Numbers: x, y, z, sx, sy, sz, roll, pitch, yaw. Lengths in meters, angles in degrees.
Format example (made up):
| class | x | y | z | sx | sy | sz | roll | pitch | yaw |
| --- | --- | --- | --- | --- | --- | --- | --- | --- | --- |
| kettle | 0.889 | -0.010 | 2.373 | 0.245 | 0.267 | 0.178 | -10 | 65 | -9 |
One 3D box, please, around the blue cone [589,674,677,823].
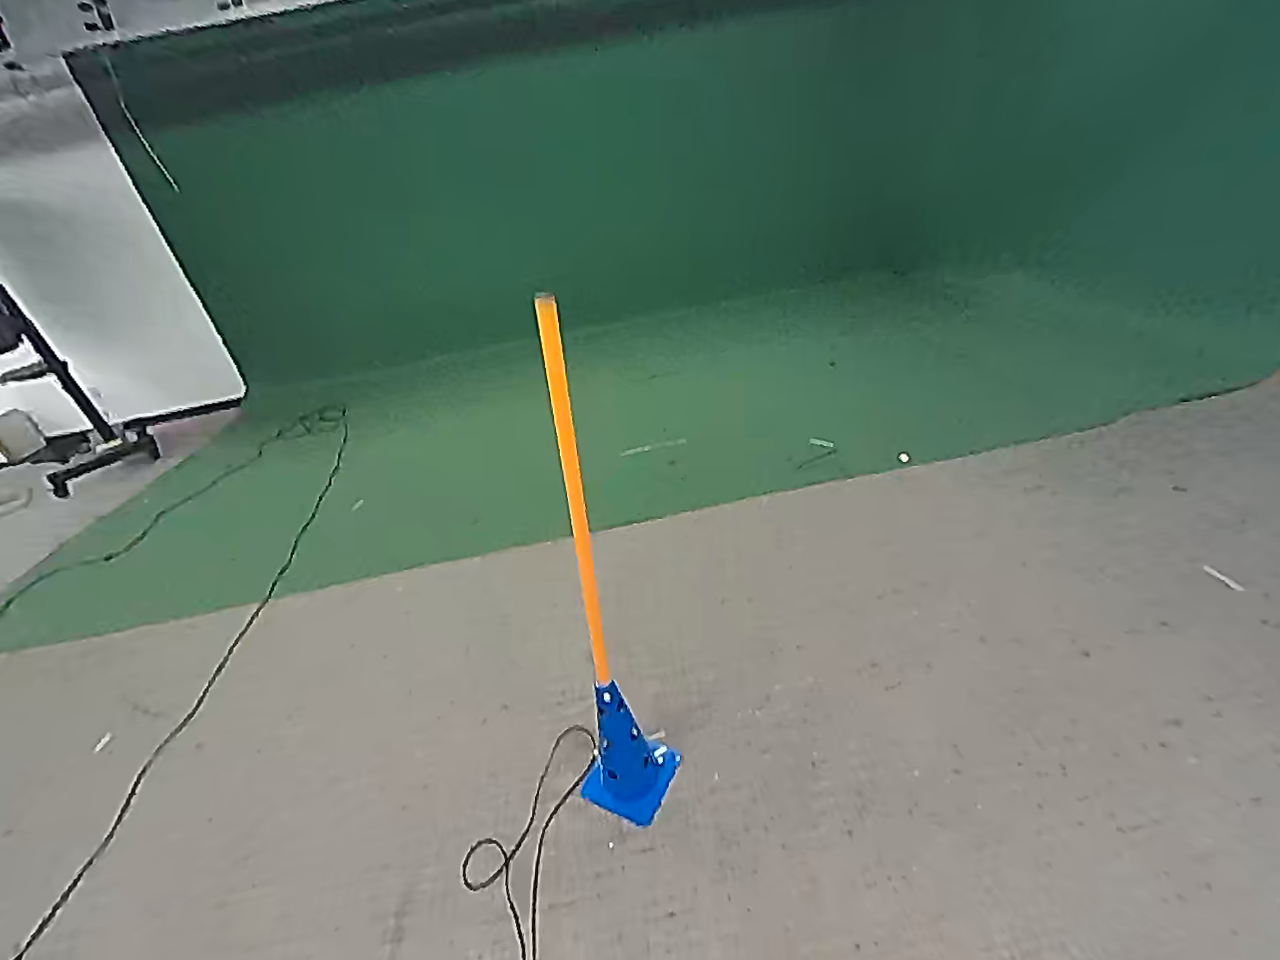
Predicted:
| class | x | y | z | sx | sy | sz | roll | pitch | yaw |
| --- | --- | --- | --- | --- | --- | --- | --- | --- | --- |
| blue cone | -0.043 | 0.592 | 1.260 | 0.192 | 0.380 | 0.193 | 6 | 33 | 26 |
